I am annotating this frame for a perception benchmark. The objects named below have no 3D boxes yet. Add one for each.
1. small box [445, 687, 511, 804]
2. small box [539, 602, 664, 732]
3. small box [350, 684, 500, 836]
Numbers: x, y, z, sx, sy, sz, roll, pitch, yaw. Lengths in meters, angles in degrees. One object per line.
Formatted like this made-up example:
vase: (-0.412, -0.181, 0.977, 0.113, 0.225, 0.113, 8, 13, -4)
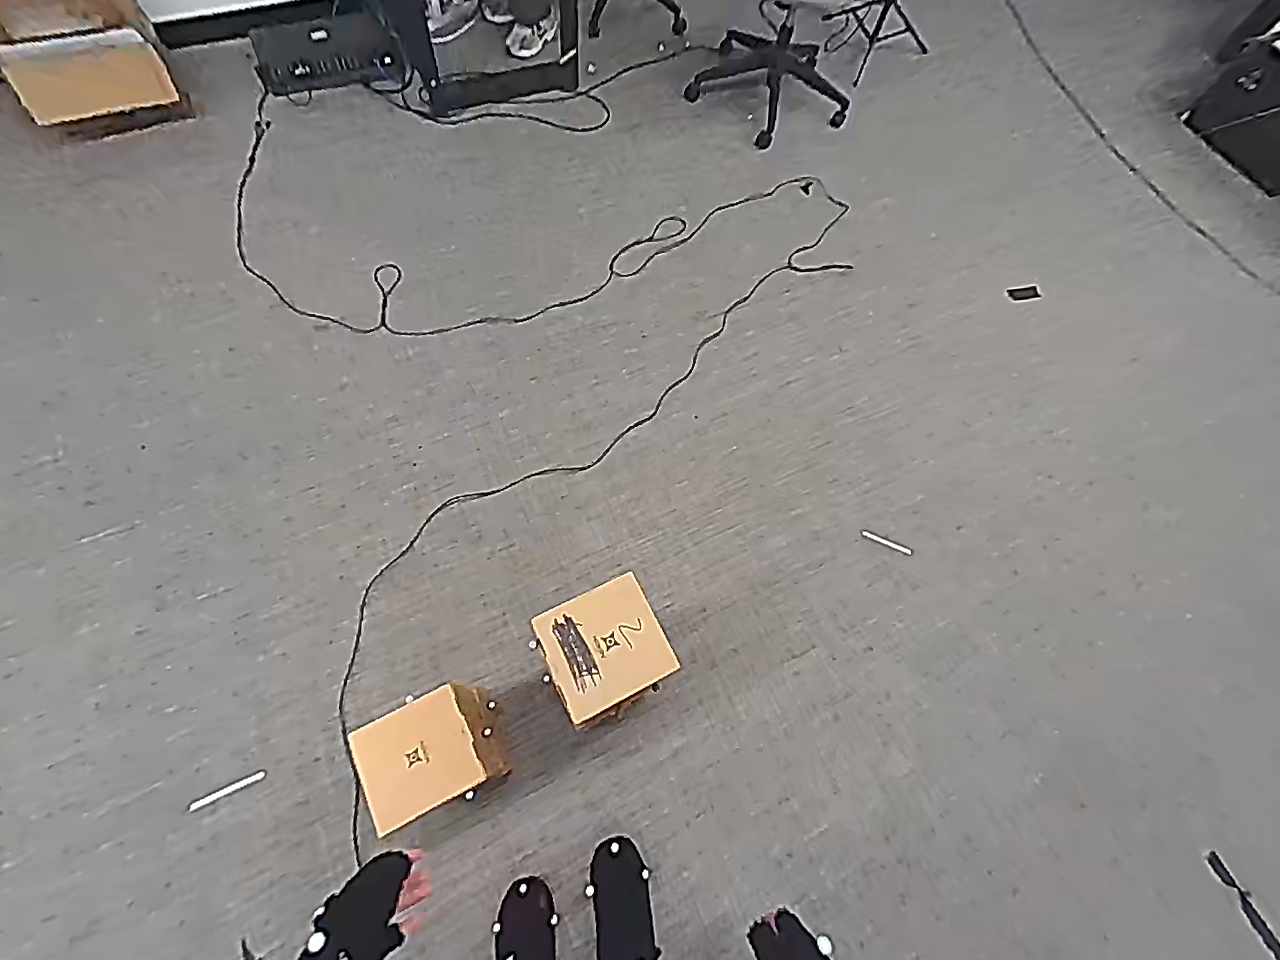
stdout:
small box: (-0.372, 0.540, 1.094, 0.168, 0.176, 0.179, -21, 71, -13)
small box: (-0.077, 0.354, 1.023, 0.179, 0.176, 0.168, -24, 70, -16)
small box: (-0.365, 0.479, 0.944, 0.179, 0.176, 0.168, -24, 71, -15)
